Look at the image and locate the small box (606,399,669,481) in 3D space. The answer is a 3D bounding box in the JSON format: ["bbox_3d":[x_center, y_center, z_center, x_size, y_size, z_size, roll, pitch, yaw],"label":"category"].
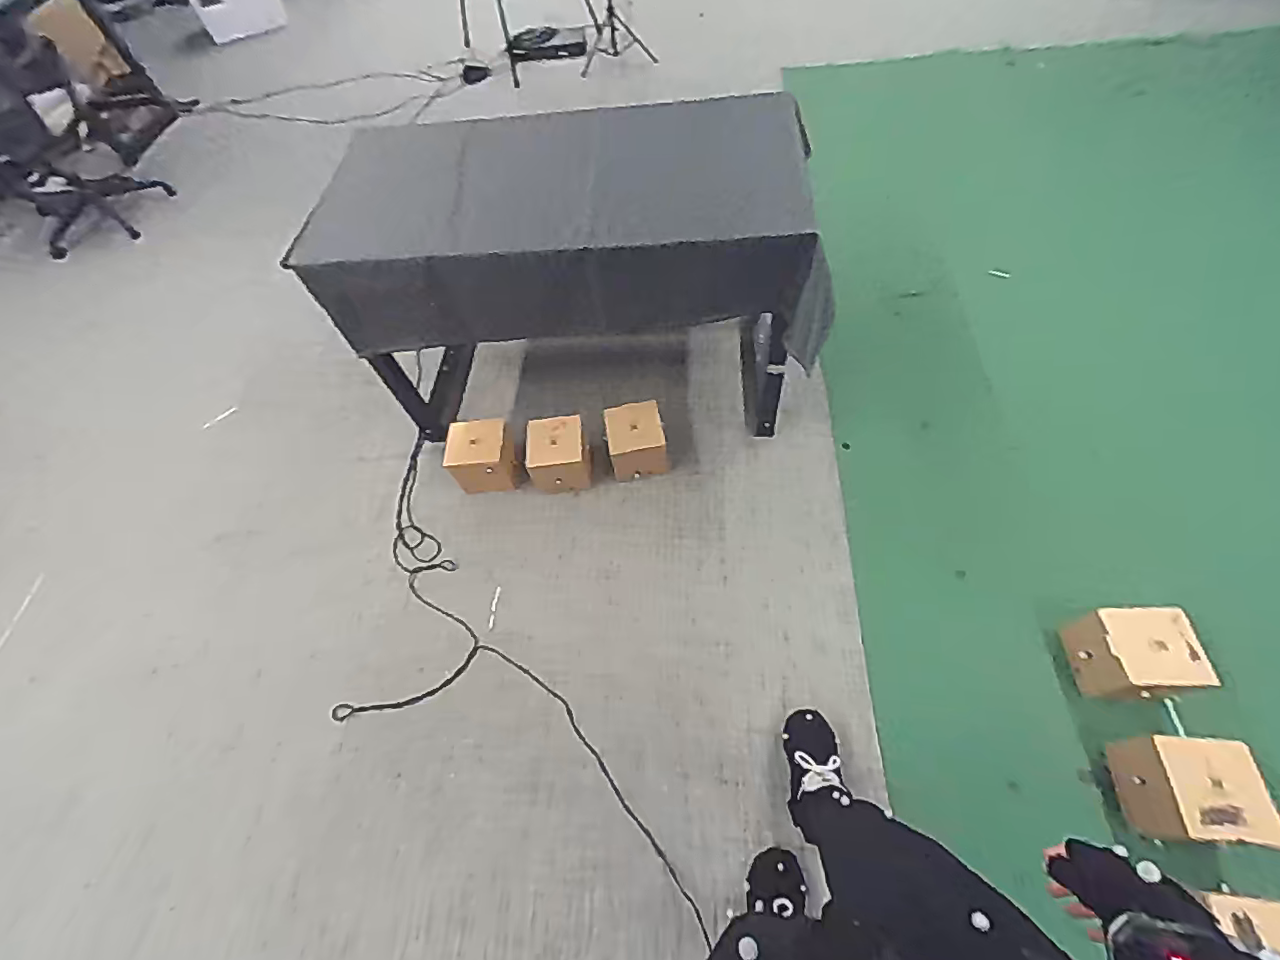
[{"bbox_3d":[-0.007,-0.121,1.670,0.168,0.176,0.179,-10,58,1],"label":"small box"}]

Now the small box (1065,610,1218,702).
[{"bbox_3d":[1.111,0.401,1.222,0.179,0.176,0.168,-2,59,7],"label":"small box"}]
